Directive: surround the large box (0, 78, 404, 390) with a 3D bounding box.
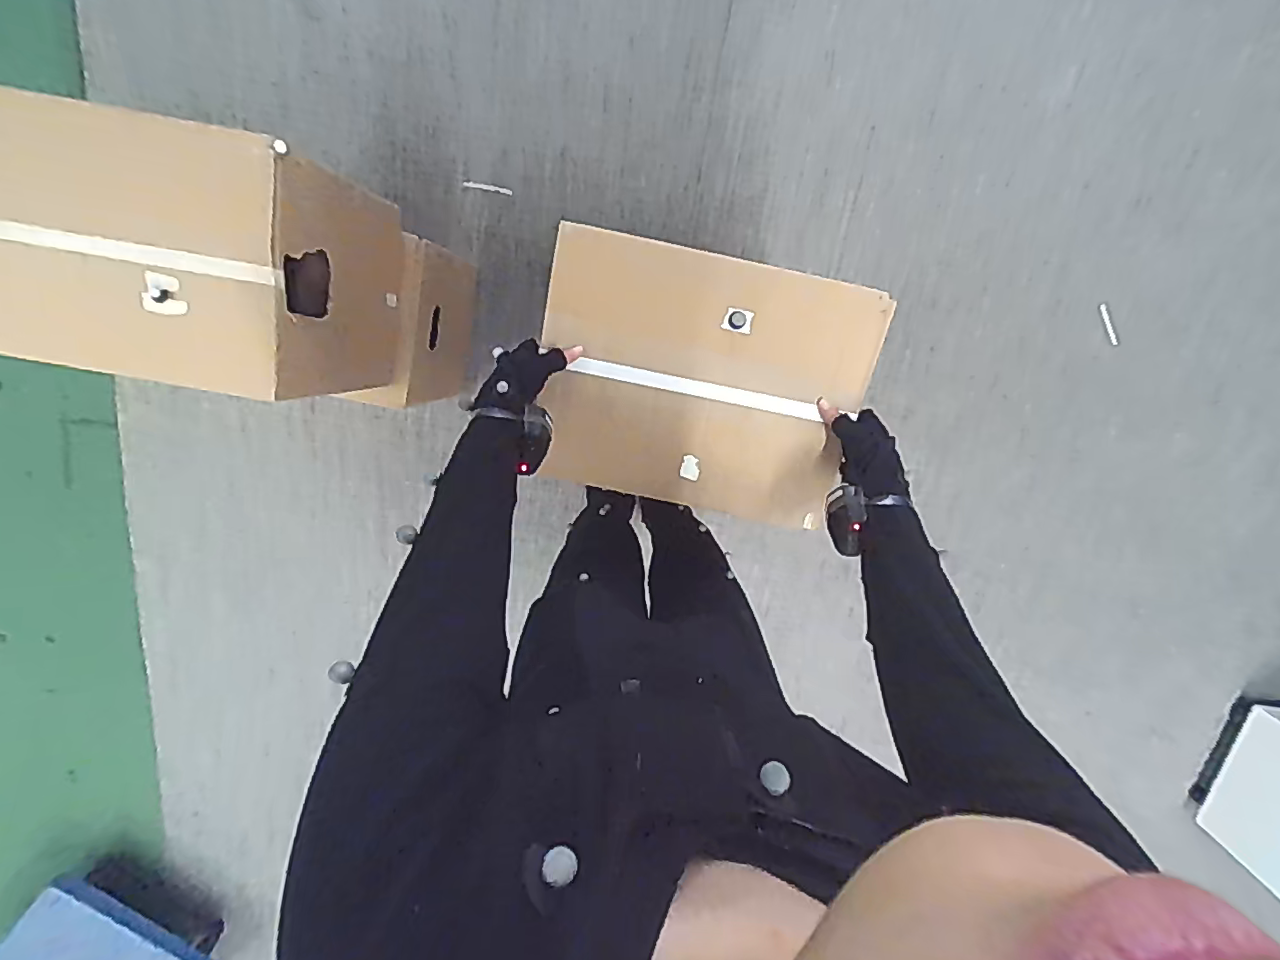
[{"bbox_3d":[-0.626,-0.326,0.806,0.408,0.320,0.320,10,103,-2],"label":"large box"}]
